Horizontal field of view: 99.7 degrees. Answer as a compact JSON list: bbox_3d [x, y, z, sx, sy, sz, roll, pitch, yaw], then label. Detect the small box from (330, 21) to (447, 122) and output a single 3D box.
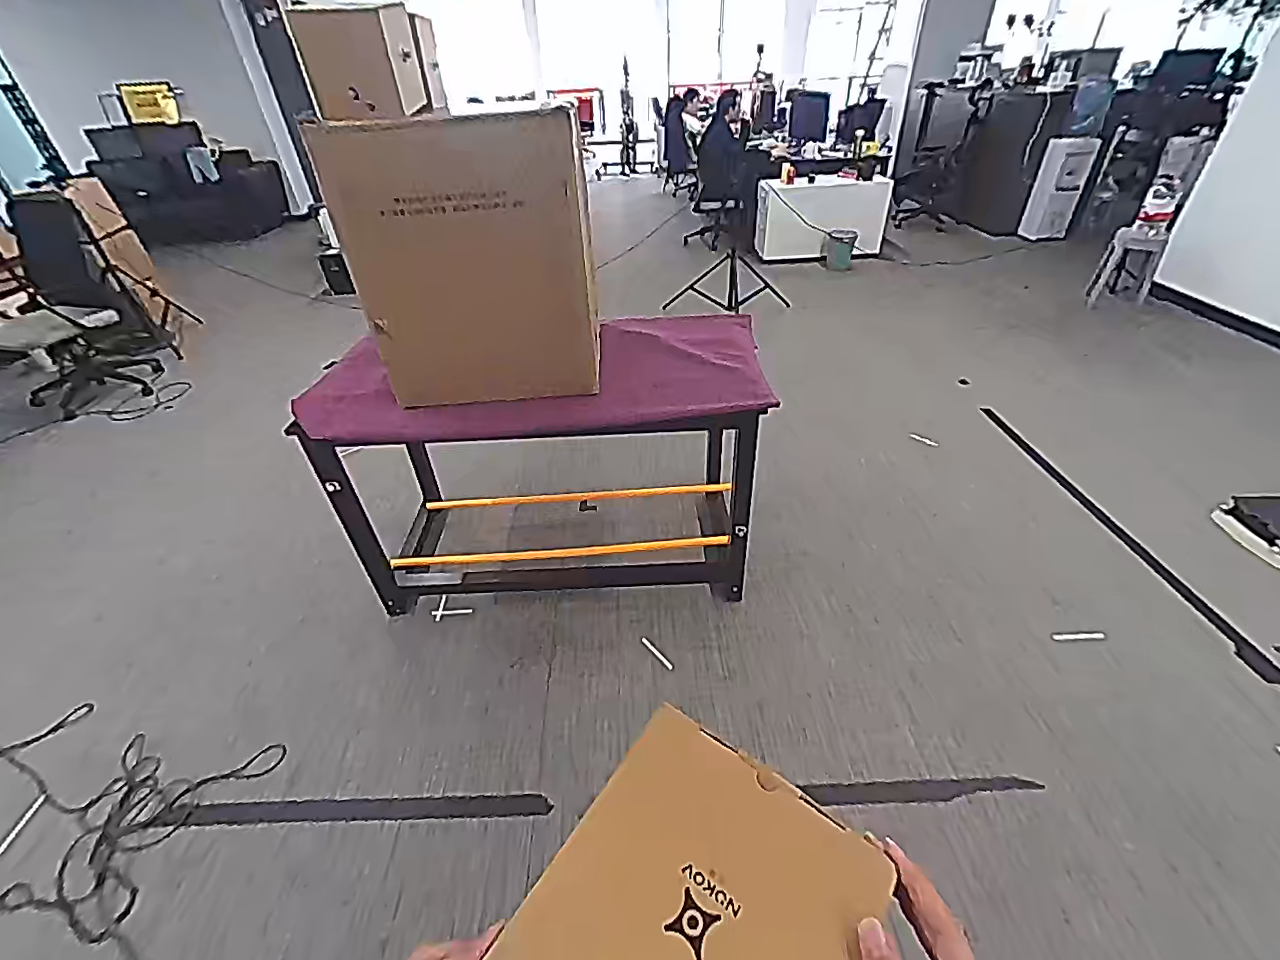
[{"bbox_3d":[-0.549,-0.913,1.212,0.179,0.176,0.168,-4,37,-2],"label":"small box"}]
